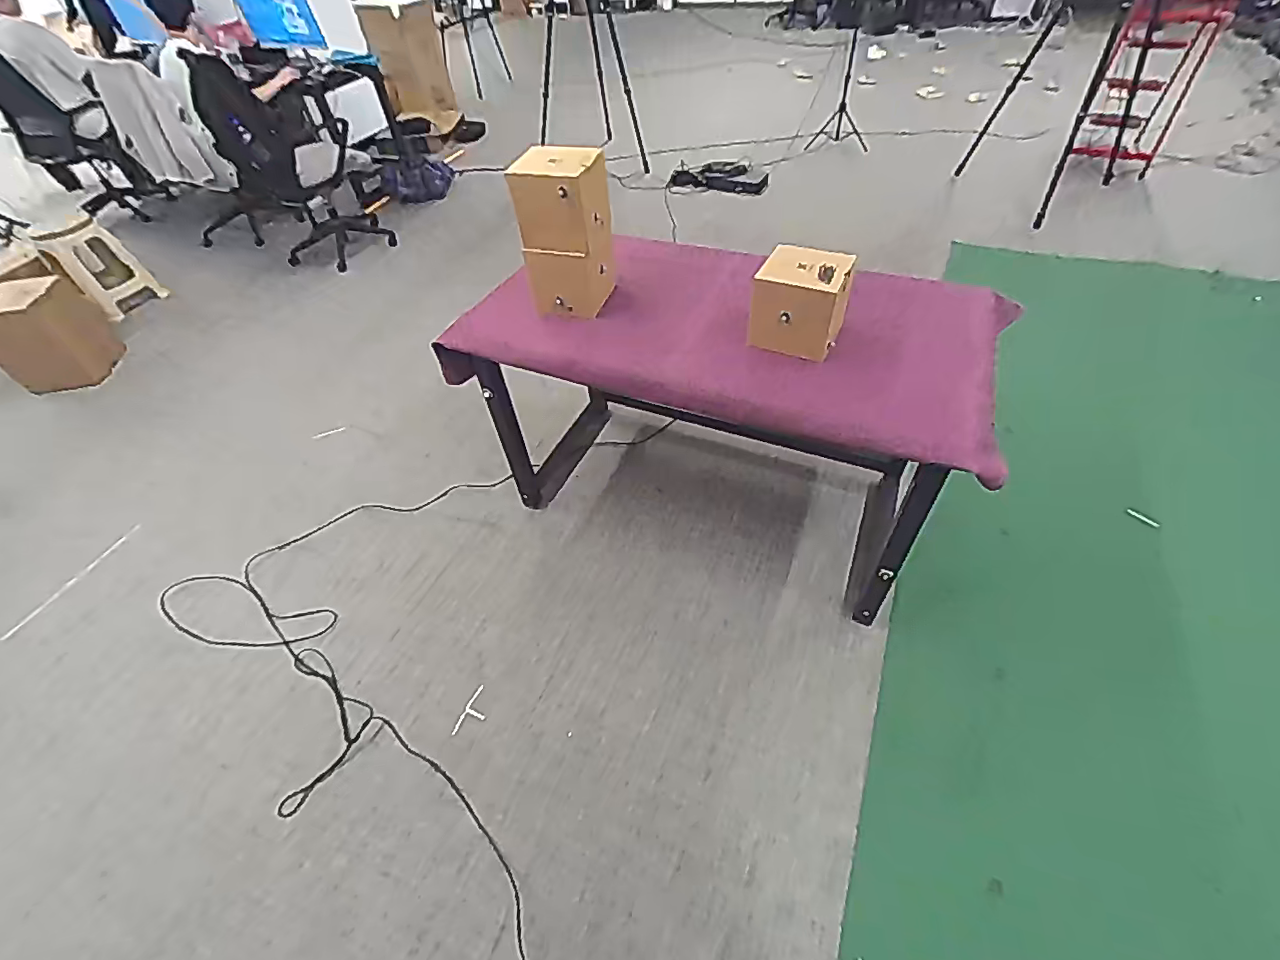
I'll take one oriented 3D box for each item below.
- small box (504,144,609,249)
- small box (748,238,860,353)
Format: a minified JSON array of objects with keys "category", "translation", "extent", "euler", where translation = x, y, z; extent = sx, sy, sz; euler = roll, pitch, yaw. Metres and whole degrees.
[{"category":"small box","translation":[-0.183,-0.652,1.246],"extent":[0.179,0.176,0.168],"euler":[10,51,13]},{"category":"small box","translation":[0.354,-0.402,1.188],"extent":[0.179,0.176,0.168],"euler":[22,53,23]}]
